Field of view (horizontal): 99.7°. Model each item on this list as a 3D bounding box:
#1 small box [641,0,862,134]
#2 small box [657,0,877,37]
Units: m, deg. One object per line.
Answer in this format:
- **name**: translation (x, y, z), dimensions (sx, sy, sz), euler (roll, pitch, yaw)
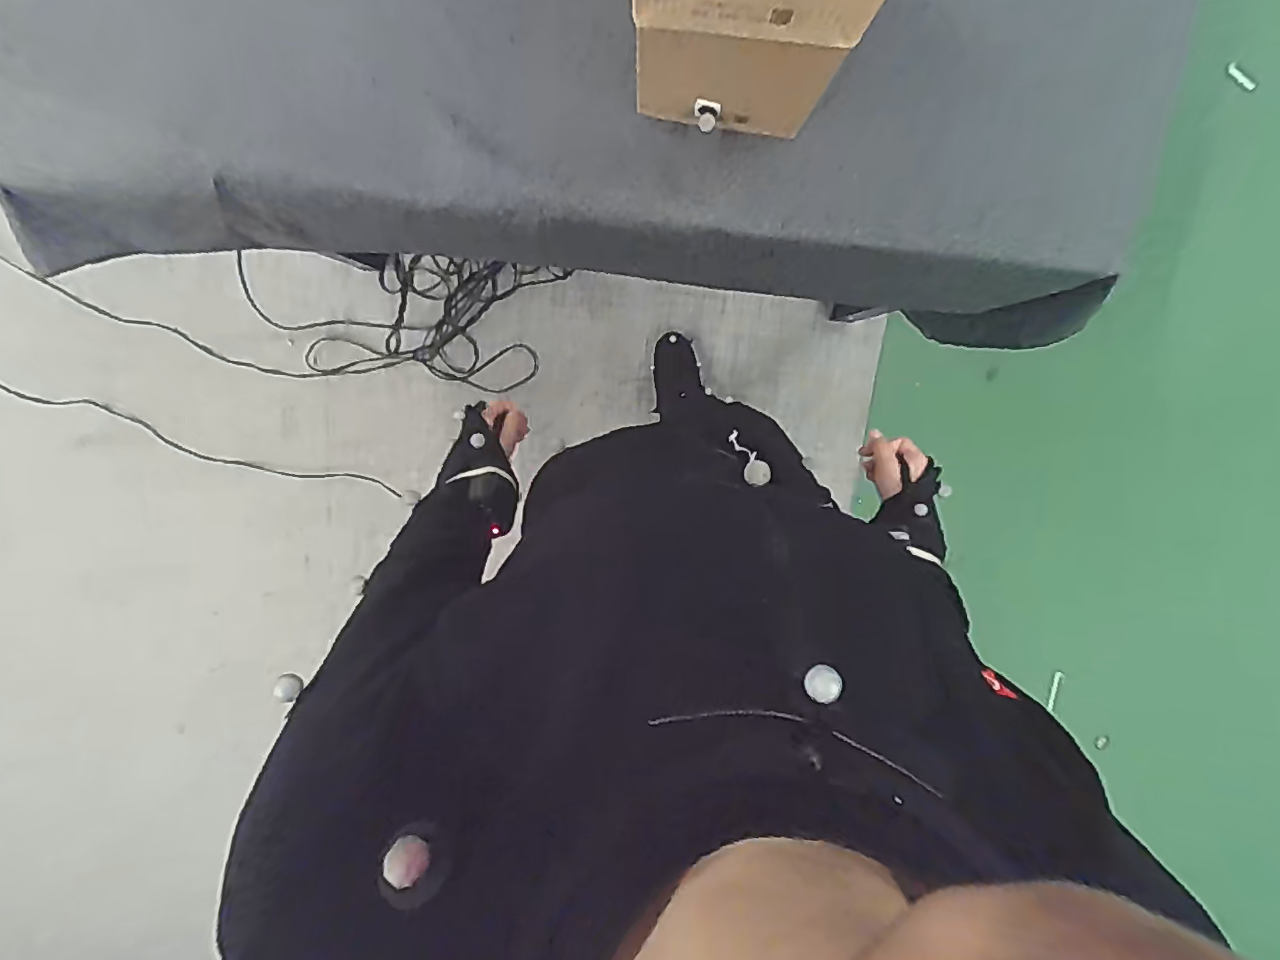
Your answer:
- **small box**: translation (0.091, -0.429, 0.453), dimensions (0.168, 0.176, 0.179), euler (7, 102, 0)
- **small box**: translation (0.084, -0.390, 0.295), dimensions (0.168, 0.176, 0.179), euler (6, 100, 0)
